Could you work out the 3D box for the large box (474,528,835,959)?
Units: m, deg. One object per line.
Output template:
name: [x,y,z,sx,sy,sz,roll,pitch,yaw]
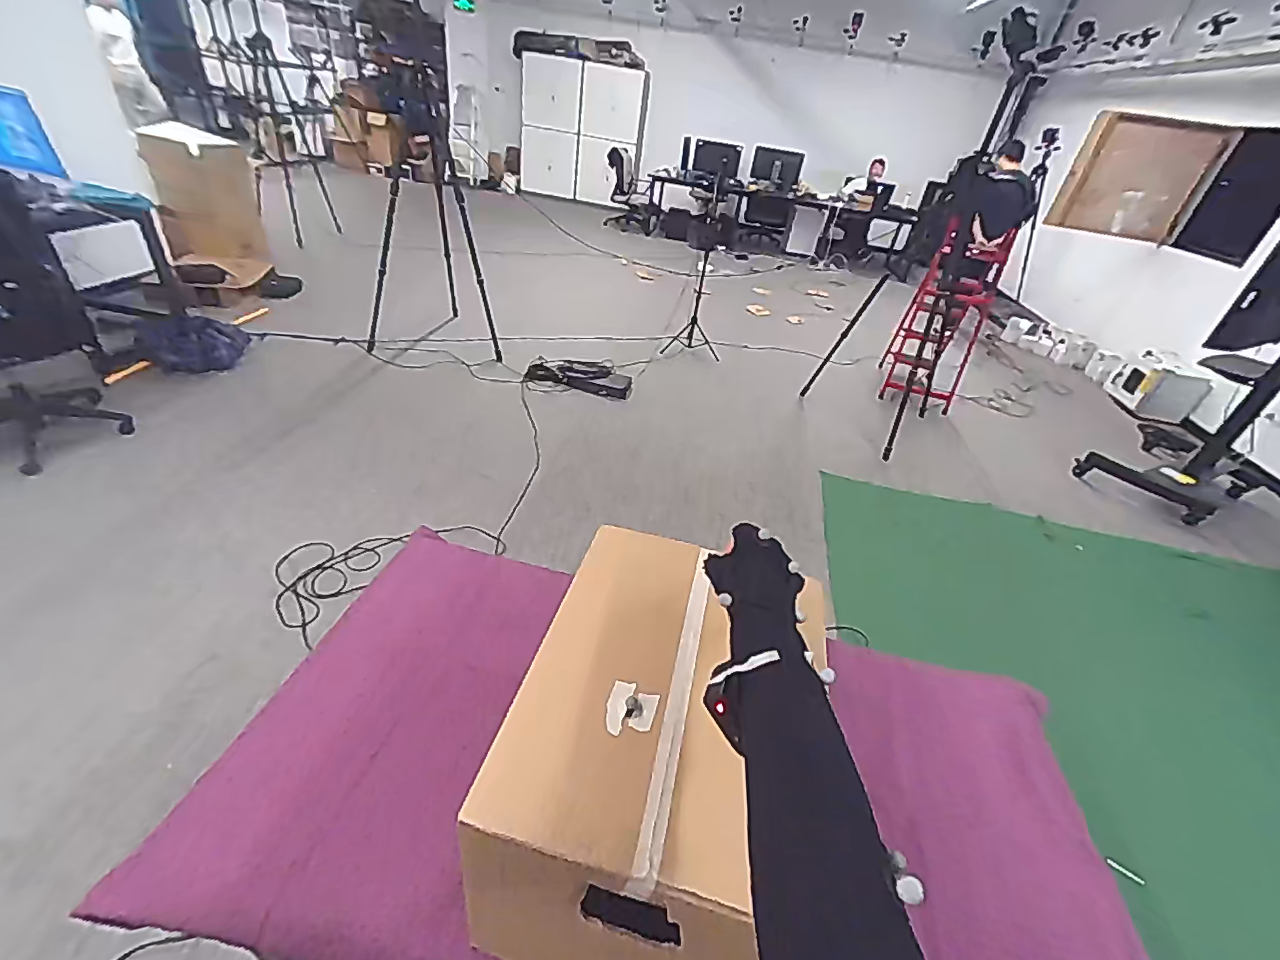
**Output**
large box: [0.026,0.331,0.681,0.320,0.320,0.408,14,35,7]
